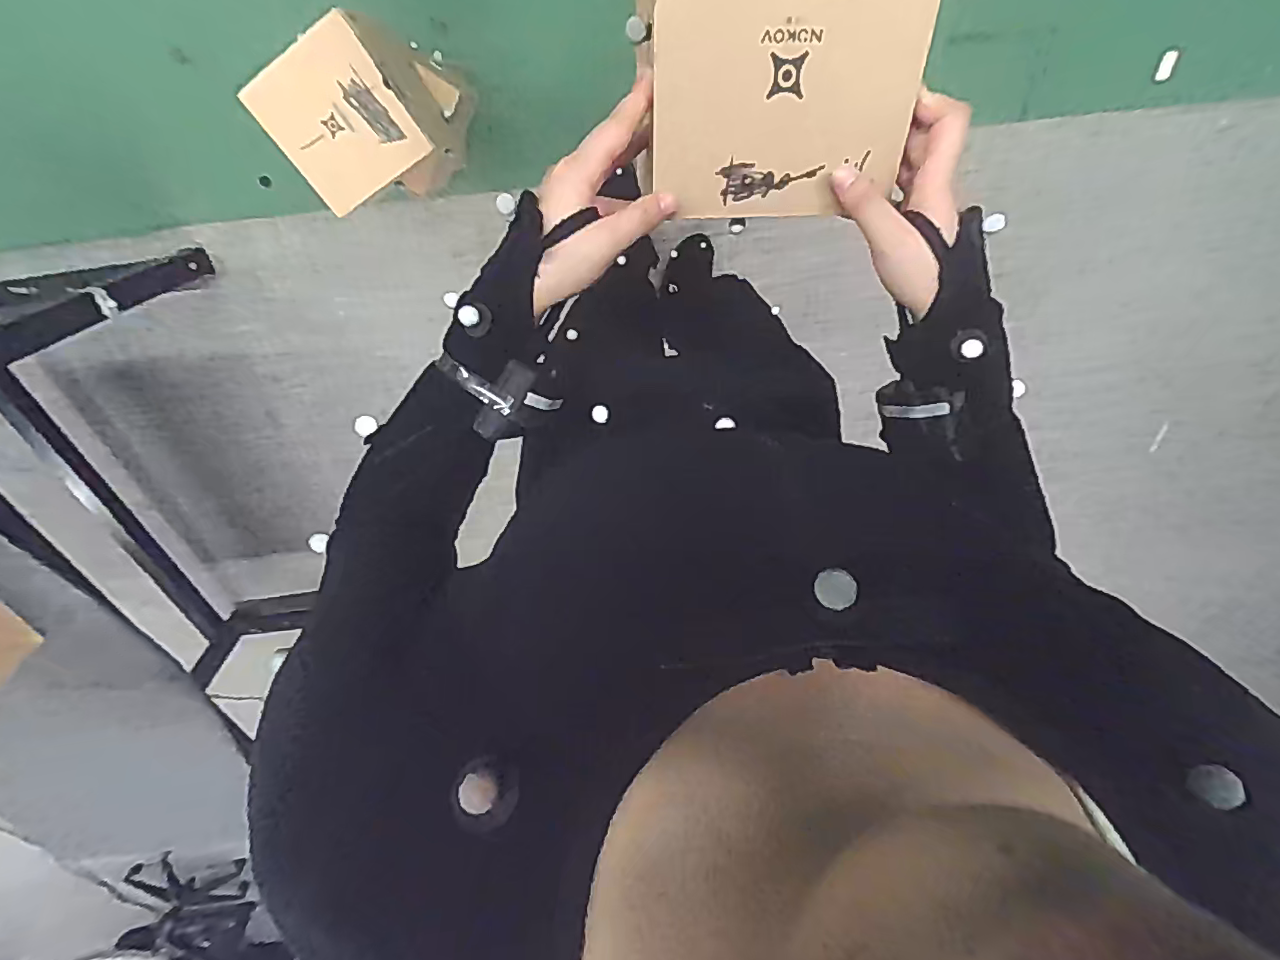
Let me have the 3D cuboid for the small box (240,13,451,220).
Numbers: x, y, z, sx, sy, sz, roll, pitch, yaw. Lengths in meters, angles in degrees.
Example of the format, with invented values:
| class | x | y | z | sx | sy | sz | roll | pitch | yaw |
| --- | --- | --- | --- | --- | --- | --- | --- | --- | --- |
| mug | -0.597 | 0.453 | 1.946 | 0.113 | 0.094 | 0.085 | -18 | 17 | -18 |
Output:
| class | x | y | z | sx | sy | sz | roll | pitch | yaw |
| --- | --- | --- | --- | --- | --- | --- | --- | --- | --- |
| small box | -0.386 | -0.499 | 0.749 | 0.179 | 0.176 | 0.168 | -25 | 125 | 15 |

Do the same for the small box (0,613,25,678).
| class | x | y | z | sx | sy | sz | roll | pitch | yaw |
| --- | --- | --- | --- | --- | --- | --- | --- | --- | --- |
| small box | -1.036 | 0.249 | 0.747 | 0.179 | 0.176 | 0.168 | -6 | 126 | 2 |

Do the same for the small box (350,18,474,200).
| class | x | y | z | sx | sy | sz | roll | pitch | yaw |
| --- | --- | --- | --- | --- | --- | --- | --- | --- | --- |
| small box | -0.387 | -0.596 | 0.882 | 0.168 | 0.176 | 0.179 | 24 | 120 | -21 |

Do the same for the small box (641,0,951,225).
| class | x | y | z | sx | sy | sz | roll | pitch | yaw |
| --- | --- | --- | --- | --- | --- | --- | --- | --- | --- |
| small box | 0.089 | -0.294 | 0.385 | 0.168 | 0.176 | 0.179 | -3 | 128 | -3 |
